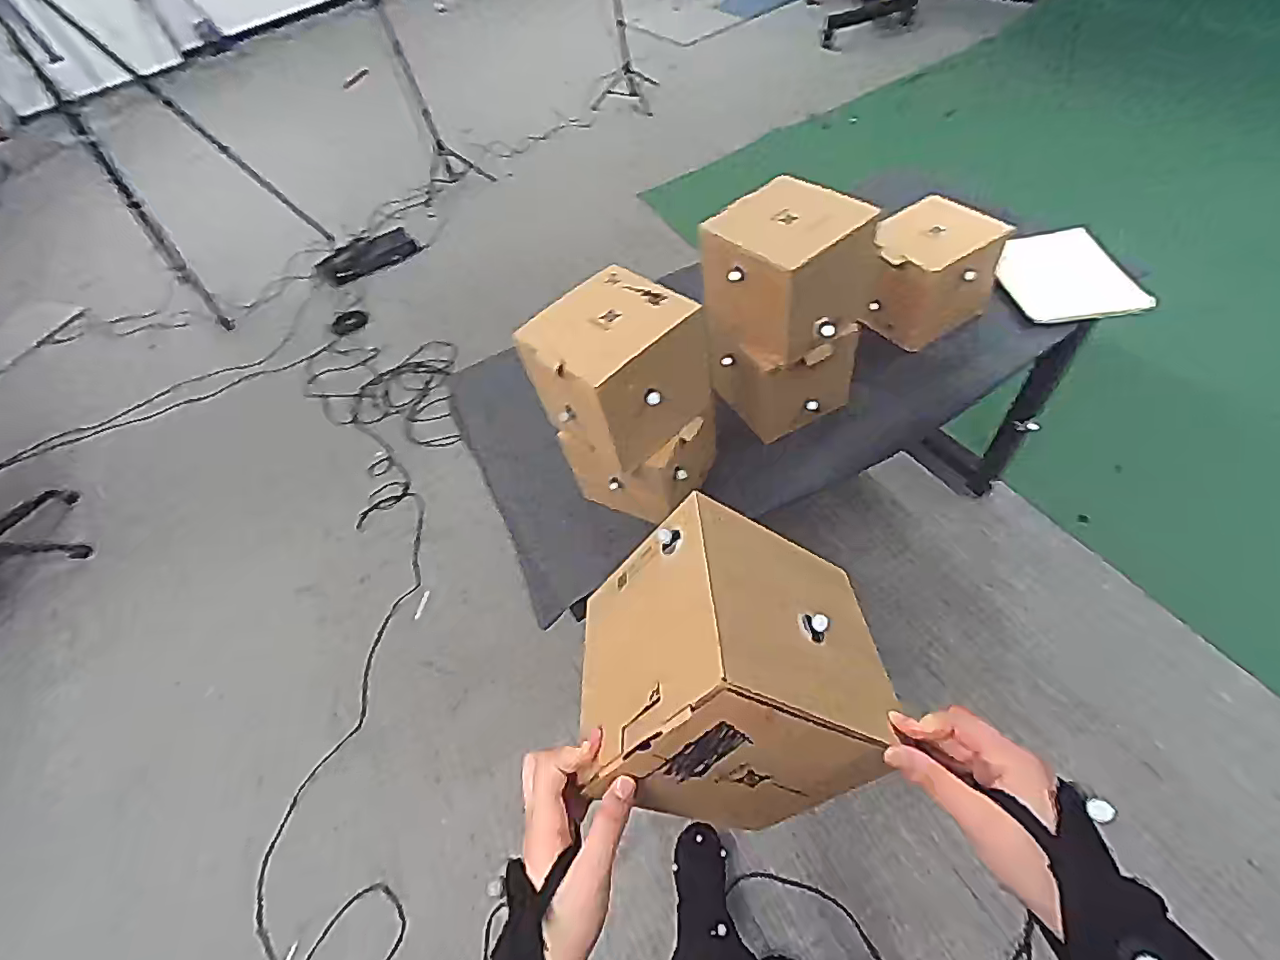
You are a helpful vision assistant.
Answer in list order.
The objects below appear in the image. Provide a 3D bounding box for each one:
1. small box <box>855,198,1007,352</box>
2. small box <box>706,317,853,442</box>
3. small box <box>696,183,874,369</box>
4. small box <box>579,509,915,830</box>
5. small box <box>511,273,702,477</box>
[{"bbox_3d":[0.504,-0.368,0.978,0.179,0.176,0.168,-31,53,-10],"label":"small box"},{"bbox_3d":[0.228,-0.196,0.914,0.168,0.176,0.179,-28,53,-7],"label":"small box"},{"bbox_3d":[0.203,-0.292,0.786,0.168,0.176,0.179,-37,55,-14],"label":"small box"},{"bbox_3d":[0.070,0.148,0.436,0.168,0.179,0.176,-49,26,32],"label":"small box"},{"bbox_3d":[-0.032,-0.136,0.722,0.179,0.176,0.168,-42,56,-17],"label":"small box"}]
